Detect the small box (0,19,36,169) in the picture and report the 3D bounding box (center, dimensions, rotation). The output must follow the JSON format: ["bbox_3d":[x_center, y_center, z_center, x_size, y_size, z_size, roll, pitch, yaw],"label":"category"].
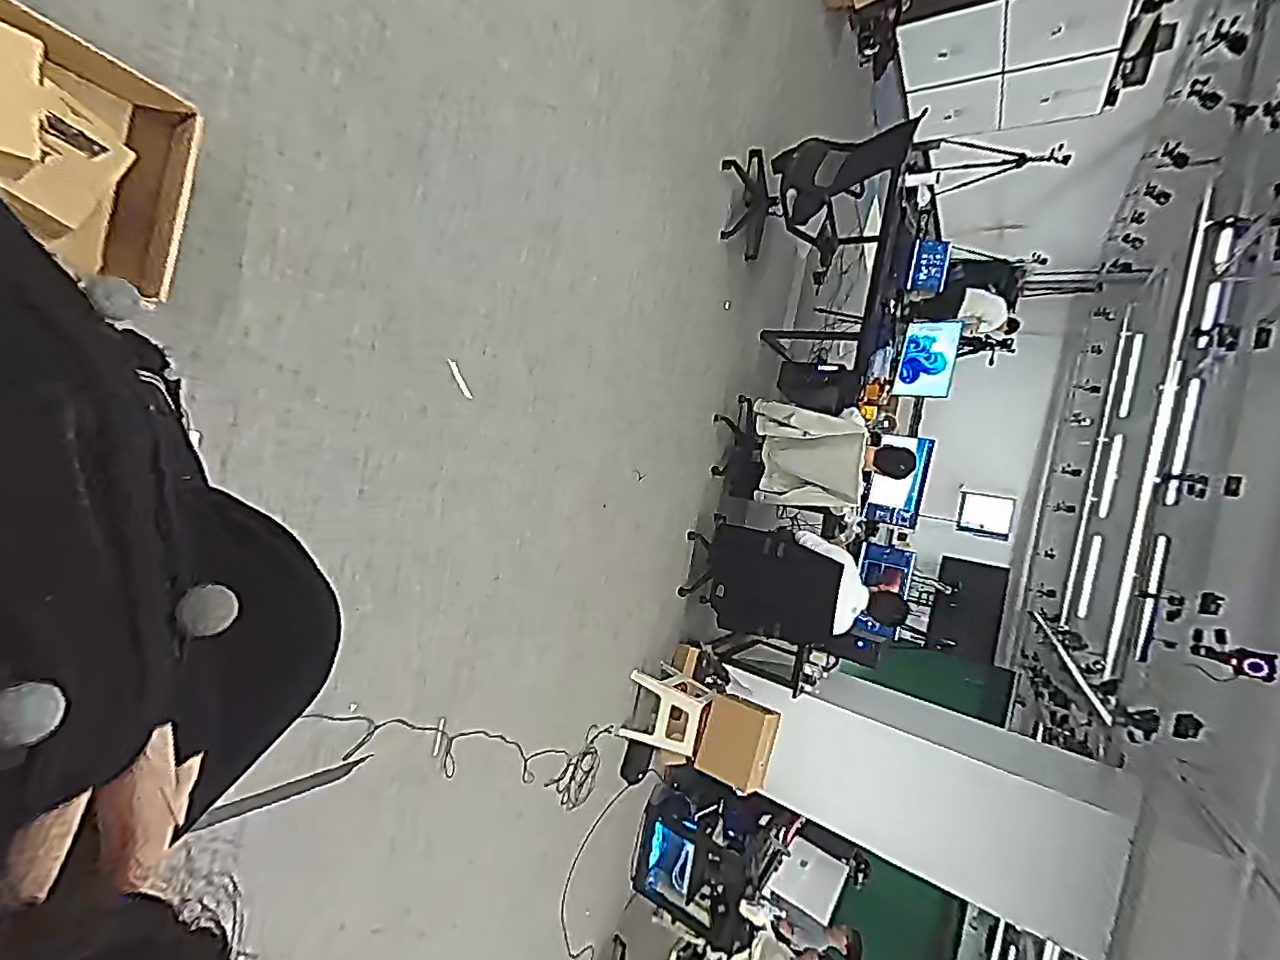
[{"bbox_3d":[-0.947,-0.537,0.713,0.179,0.176,0.168,-1,99,-57],"label":"small box"}]
